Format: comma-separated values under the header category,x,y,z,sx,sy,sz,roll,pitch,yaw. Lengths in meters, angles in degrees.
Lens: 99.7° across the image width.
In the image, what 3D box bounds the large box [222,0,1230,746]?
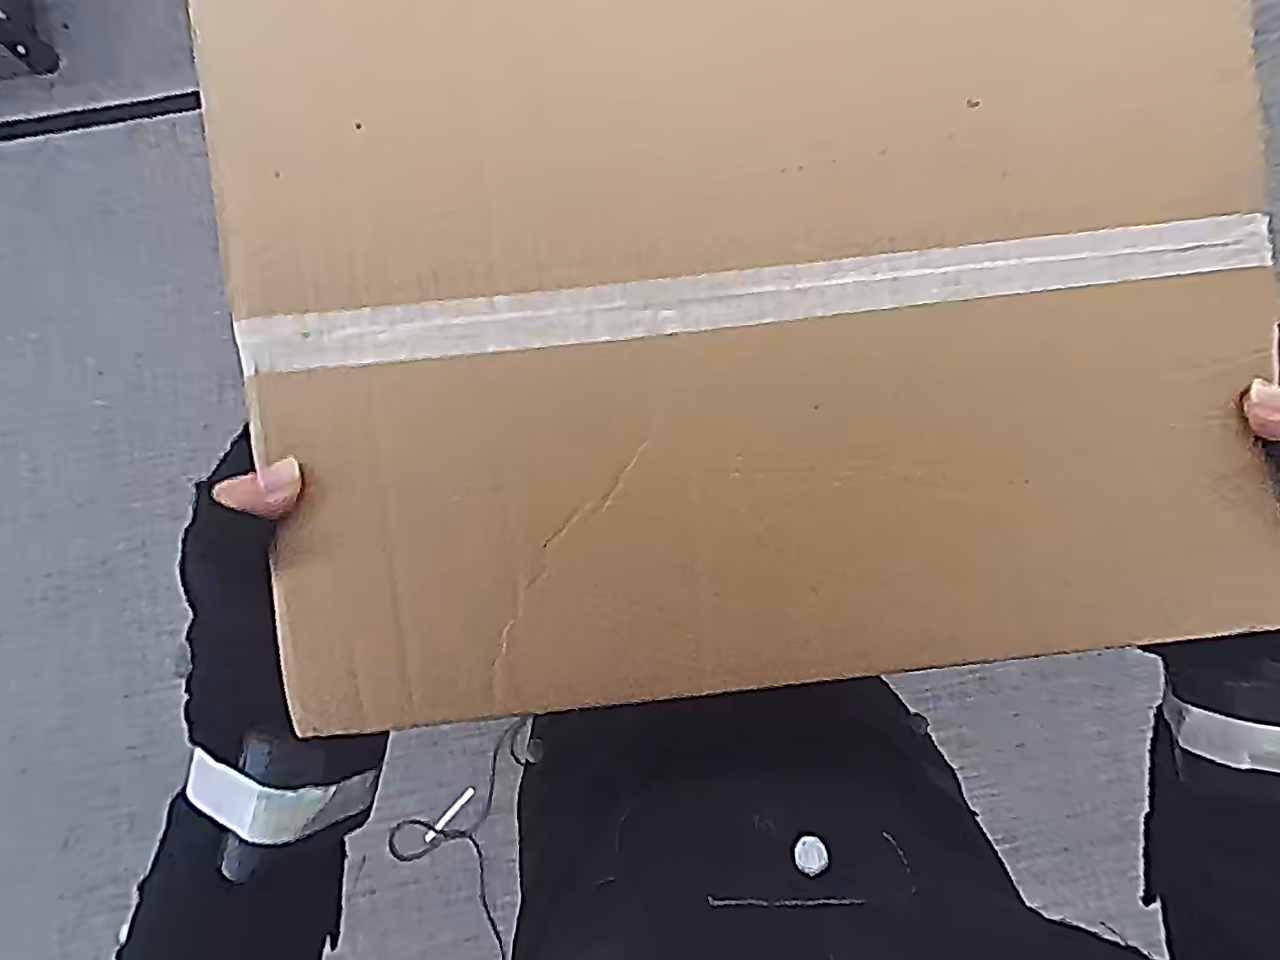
category,x,y,z,sx,sy,sz,roll,pitch,yaw
large box,0.043,-0.070,0.376,0.408,0.320,0.320,-7,91,-1
